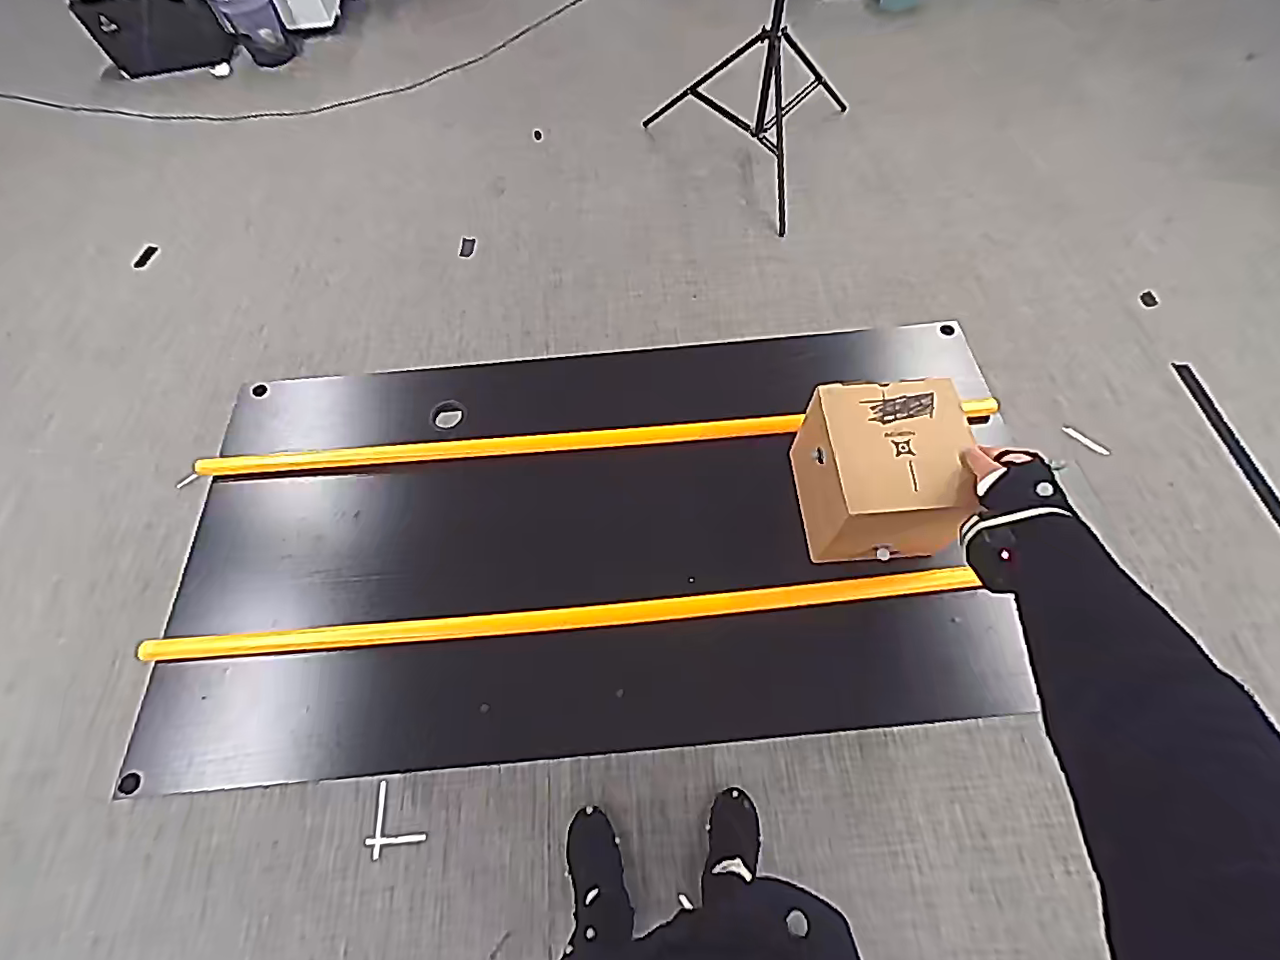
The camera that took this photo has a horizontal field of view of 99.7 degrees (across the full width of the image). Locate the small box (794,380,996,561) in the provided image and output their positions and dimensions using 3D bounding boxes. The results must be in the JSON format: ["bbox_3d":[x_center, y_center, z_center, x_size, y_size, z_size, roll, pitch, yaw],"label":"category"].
[{"bbox_3d":[0.308,-0.007,0.700,0.168,0.176,0.179,-3,63,1],"label":"small box"}]
